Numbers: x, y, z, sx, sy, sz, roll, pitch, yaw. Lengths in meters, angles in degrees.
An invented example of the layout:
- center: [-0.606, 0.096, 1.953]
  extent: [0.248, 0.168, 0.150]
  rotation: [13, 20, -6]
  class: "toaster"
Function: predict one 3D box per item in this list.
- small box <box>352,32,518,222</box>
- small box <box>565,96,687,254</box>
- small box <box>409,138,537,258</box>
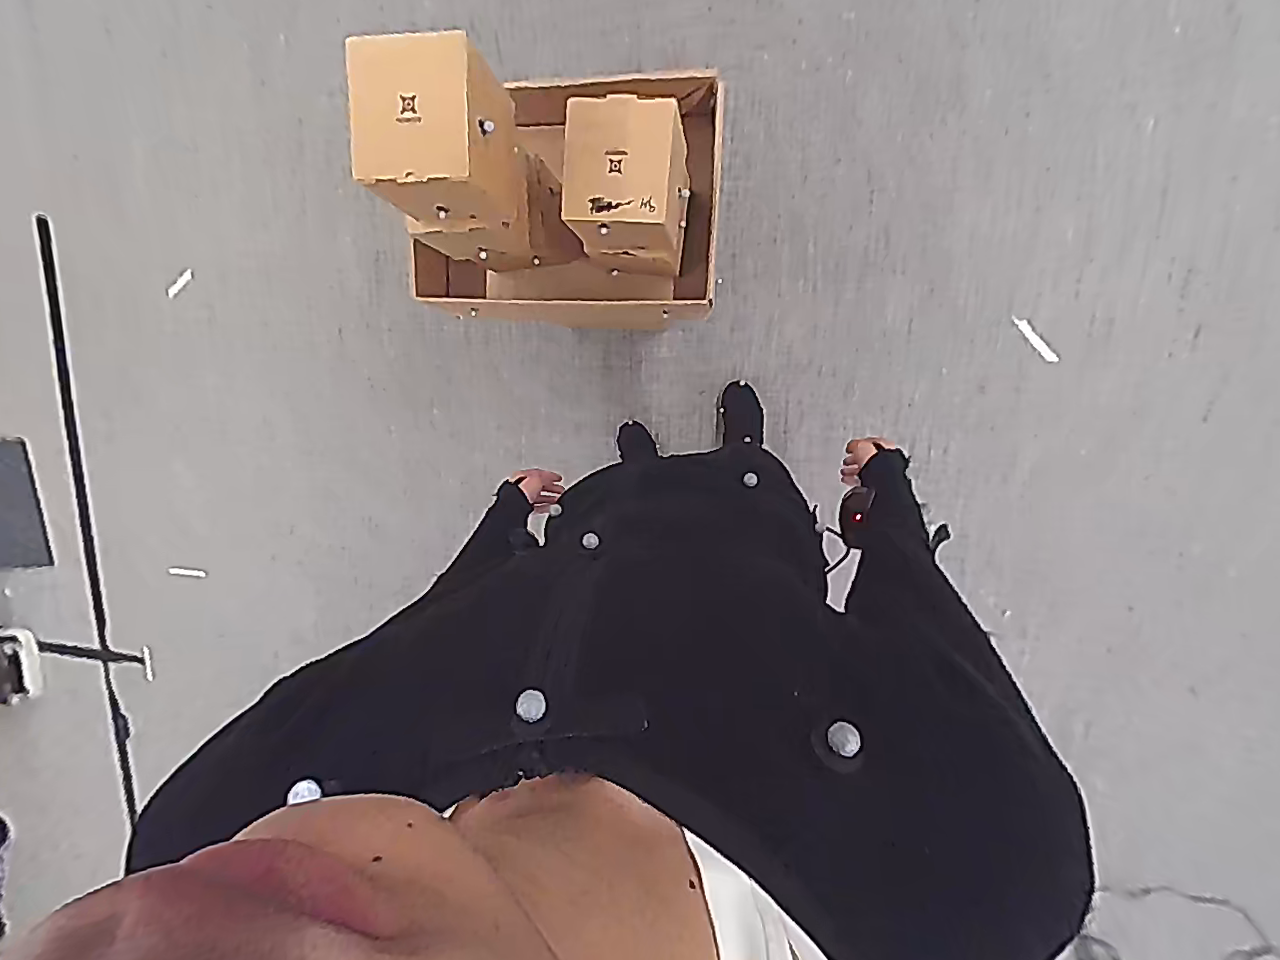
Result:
- center: [-0.280, -0.487, 0.771]
  extent: [0.168, 0.176, 0.179]
  rotation: [2, 100, 7]
  class: "small box"
- center: [-0.015, -0.491, 0.888]
  extent: [0.168, 0.176, 0.179]
  rotation: [7, 99, 9]
  class: "small box"
- center: [-0.285, -0.499, 0.936]
  extent: [0.168, 0.176, 0.179]
  rotation: [-1, 99, 8]
  class: "small box"
